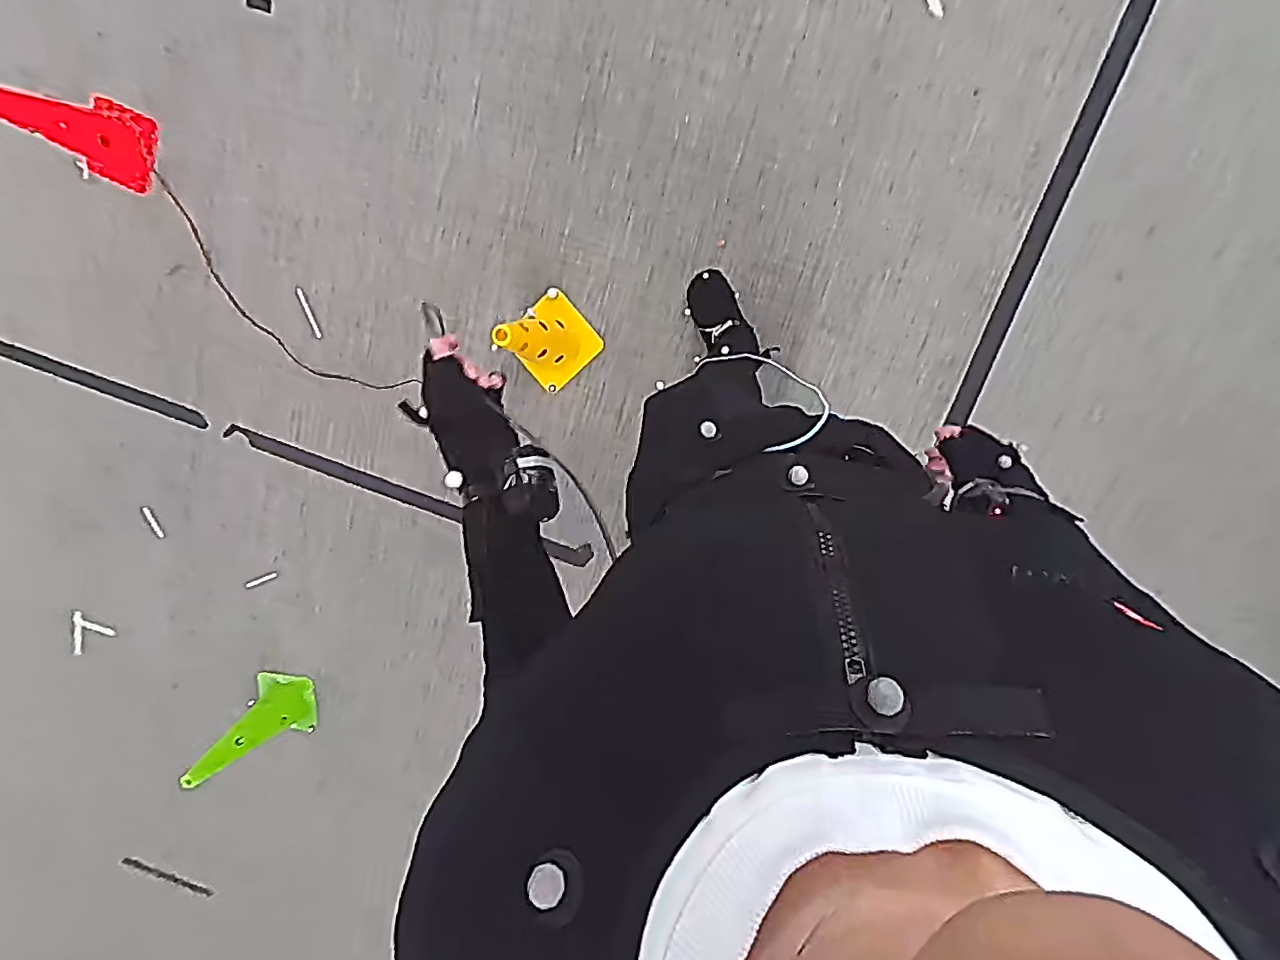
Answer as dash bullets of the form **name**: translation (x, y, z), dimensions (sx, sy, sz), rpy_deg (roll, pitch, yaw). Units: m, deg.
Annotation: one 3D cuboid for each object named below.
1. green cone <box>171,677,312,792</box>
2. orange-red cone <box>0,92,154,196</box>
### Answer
- **green cone**: translation (-1.207, 0.782, 1.620), dimensions (0.202, 0.368, 0.200), rpy_deg (3, 102, 9)
- **orange-red cone**: translation (-1.431, -0.860, 1.294), dimensions (0.199, 0.360, 0.198), rpy_deg (25, 105, 1)
